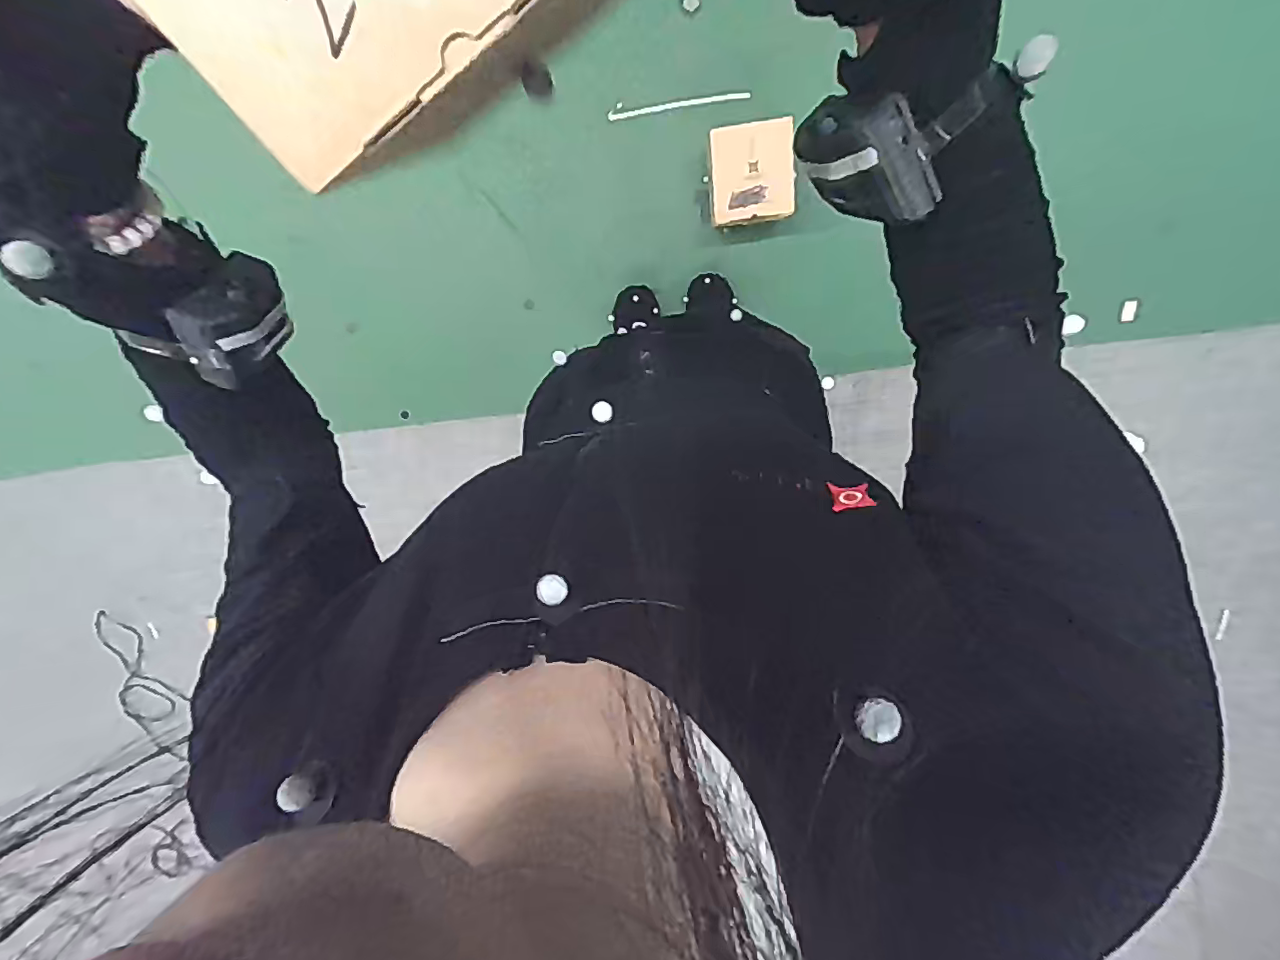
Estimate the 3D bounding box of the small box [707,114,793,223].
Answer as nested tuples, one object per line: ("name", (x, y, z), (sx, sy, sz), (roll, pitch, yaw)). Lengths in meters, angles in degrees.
("small box", (0.234, -0.662, 1.170), (0.168, 0.176, 0.179), (-5, 111, 6))
